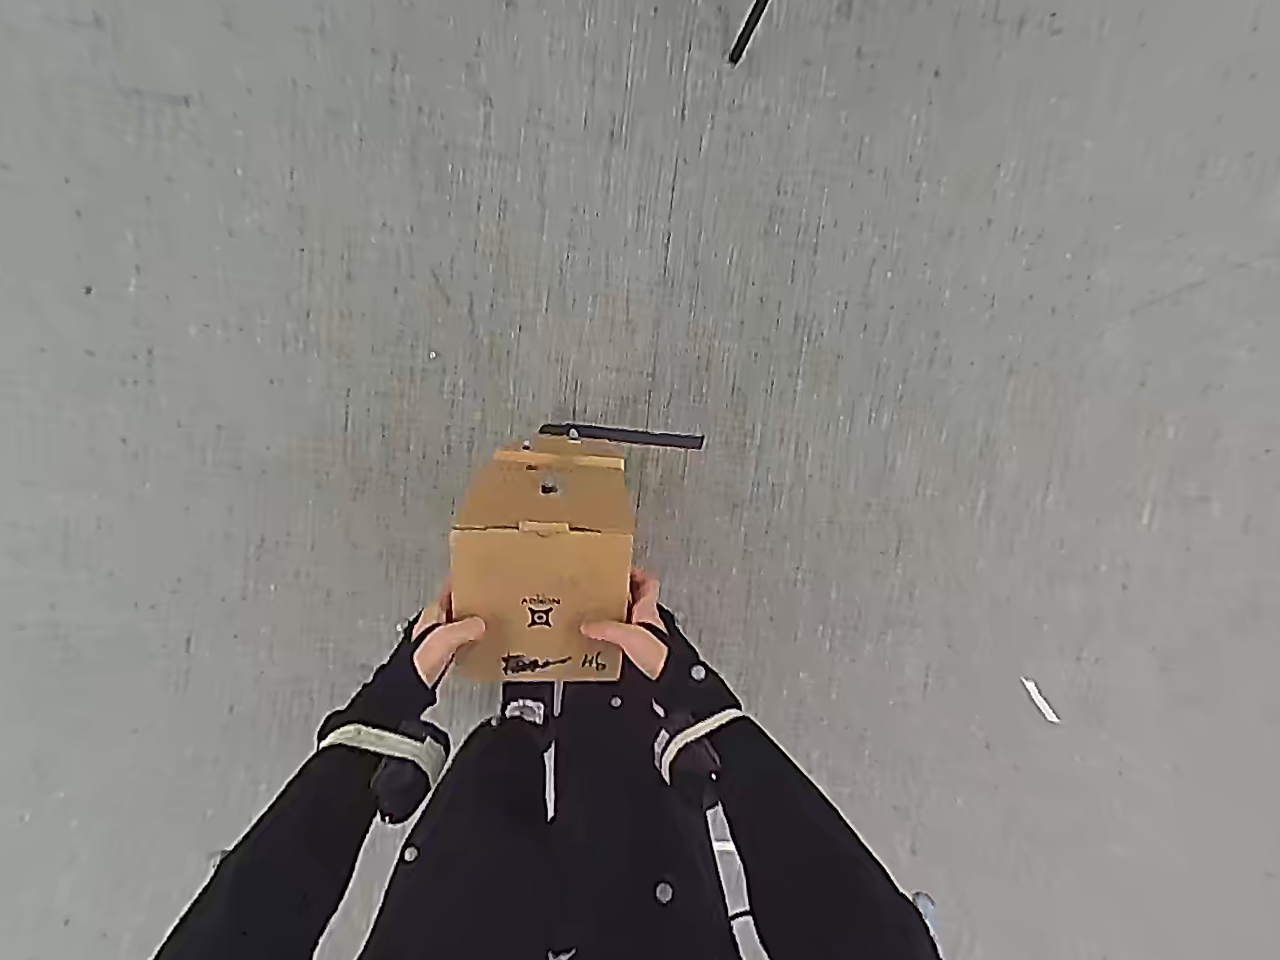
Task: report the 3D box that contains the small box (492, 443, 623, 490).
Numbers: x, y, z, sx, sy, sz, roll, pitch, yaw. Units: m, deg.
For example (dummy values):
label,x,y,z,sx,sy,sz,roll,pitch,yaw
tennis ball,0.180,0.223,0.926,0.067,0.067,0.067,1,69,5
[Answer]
label,x,y,z,sx,sy,sz,roll,pitch,yaw
small box,-0.122,0.034,0.810,0.179,0.176,0.168,3,97,-6

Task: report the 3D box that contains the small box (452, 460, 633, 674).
label,x,y,z,sx,sy,sz,roll,pitch,yaw
small box,-0.104,0.086,0.593,0.168,0.176,0.179,2,112,-7

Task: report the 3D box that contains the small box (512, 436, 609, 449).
label,x,y,z,sx,sy,sz,roll,pitch,yaw
small box,-0.140,0.016,0.970,0.168,0.176,0.179,3,96,-6
